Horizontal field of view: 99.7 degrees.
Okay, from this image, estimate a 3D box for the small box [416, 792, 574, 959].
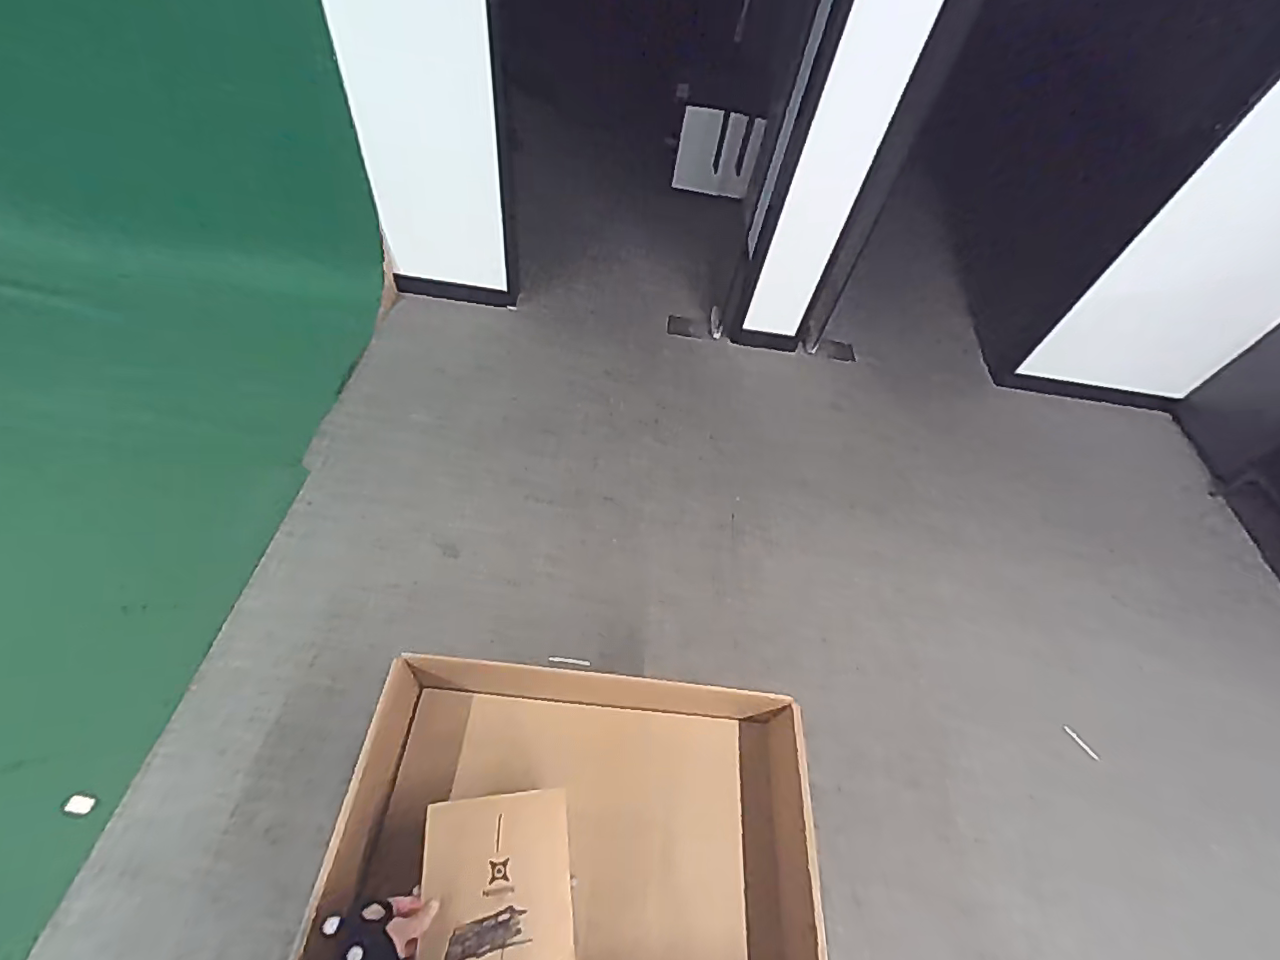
[{"bbox_3d":[-0.177,0.510,0.671,0.168,0.176,0.179,1,50,-16],"label":"small box"}]
